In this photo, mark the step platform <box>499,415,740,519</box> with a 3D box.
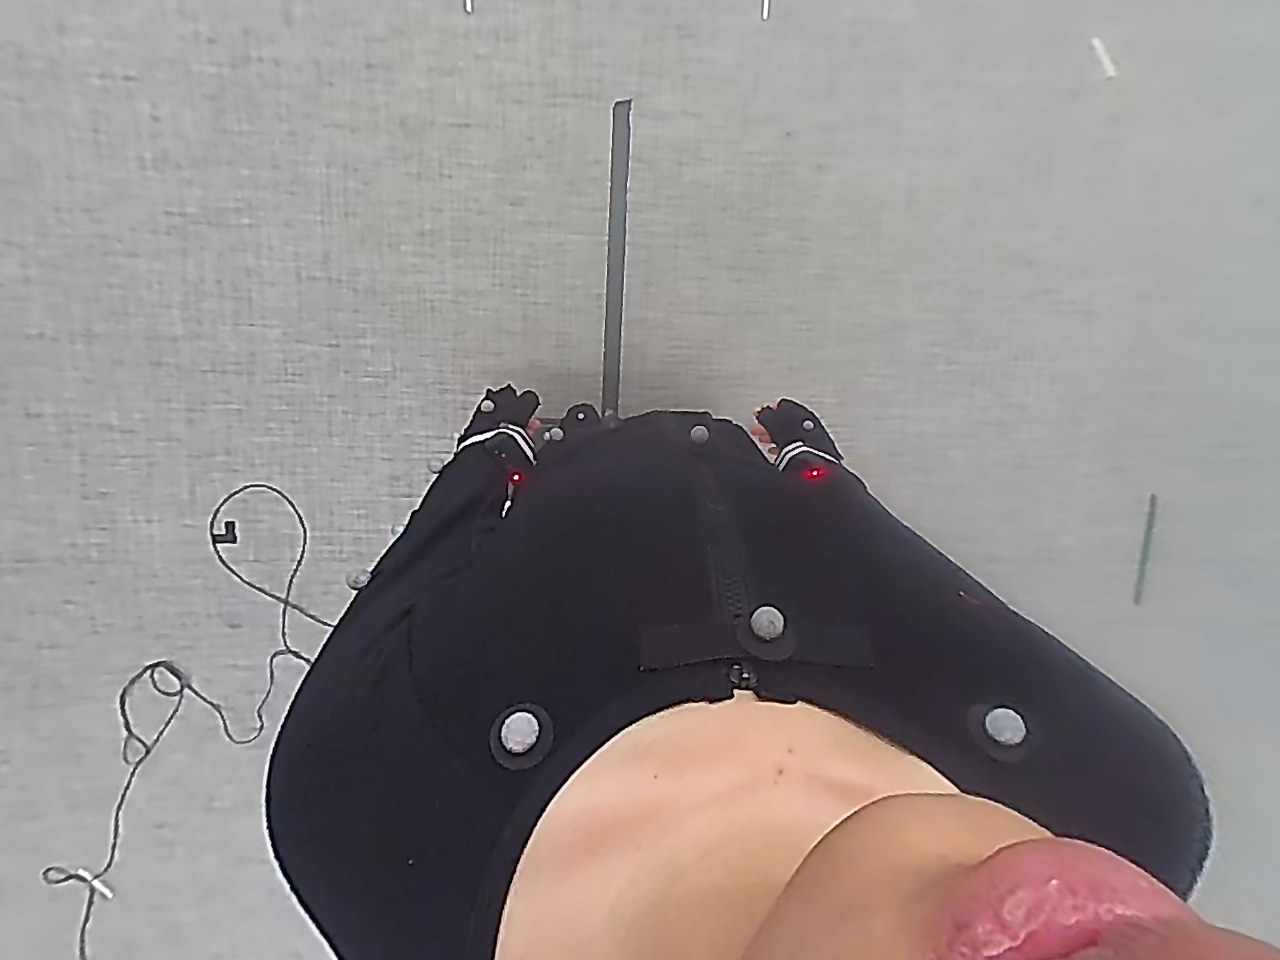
[{"bbox_3d":[-0.058,-0.042,1.568,0.684,0.204,0.286,0,99,-5],"label":"step platform"}]
